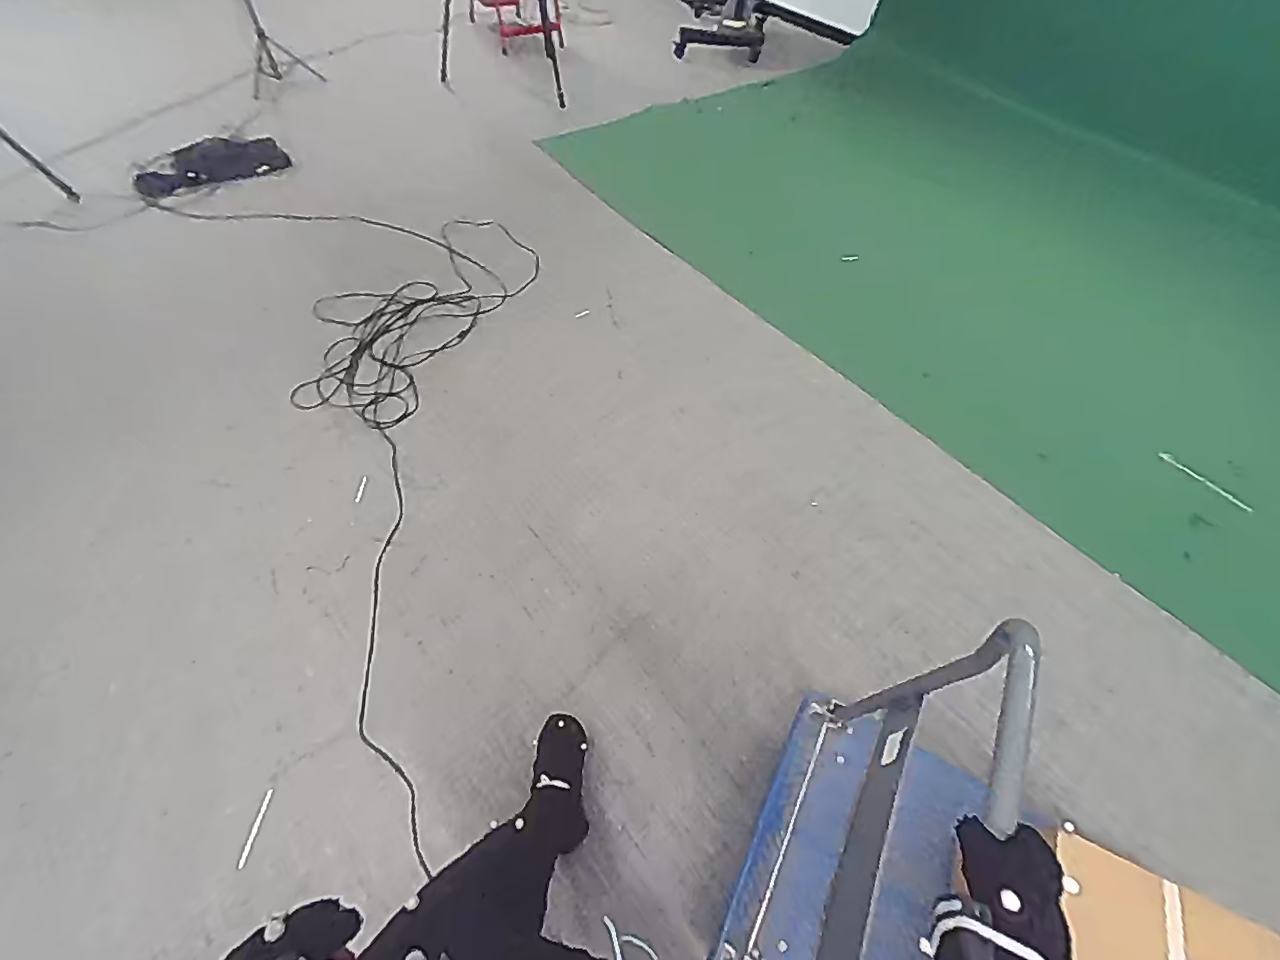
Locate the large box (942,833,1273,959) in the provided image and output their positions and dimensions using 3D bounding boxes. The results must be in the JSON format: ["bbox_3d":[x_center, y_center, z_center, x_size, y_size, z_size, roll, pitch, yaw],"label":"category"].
[{"bbox_3d":[0.690,0.843,0.831,0.320,0.320,0.408,24,55,11],"label":"large box"}]
